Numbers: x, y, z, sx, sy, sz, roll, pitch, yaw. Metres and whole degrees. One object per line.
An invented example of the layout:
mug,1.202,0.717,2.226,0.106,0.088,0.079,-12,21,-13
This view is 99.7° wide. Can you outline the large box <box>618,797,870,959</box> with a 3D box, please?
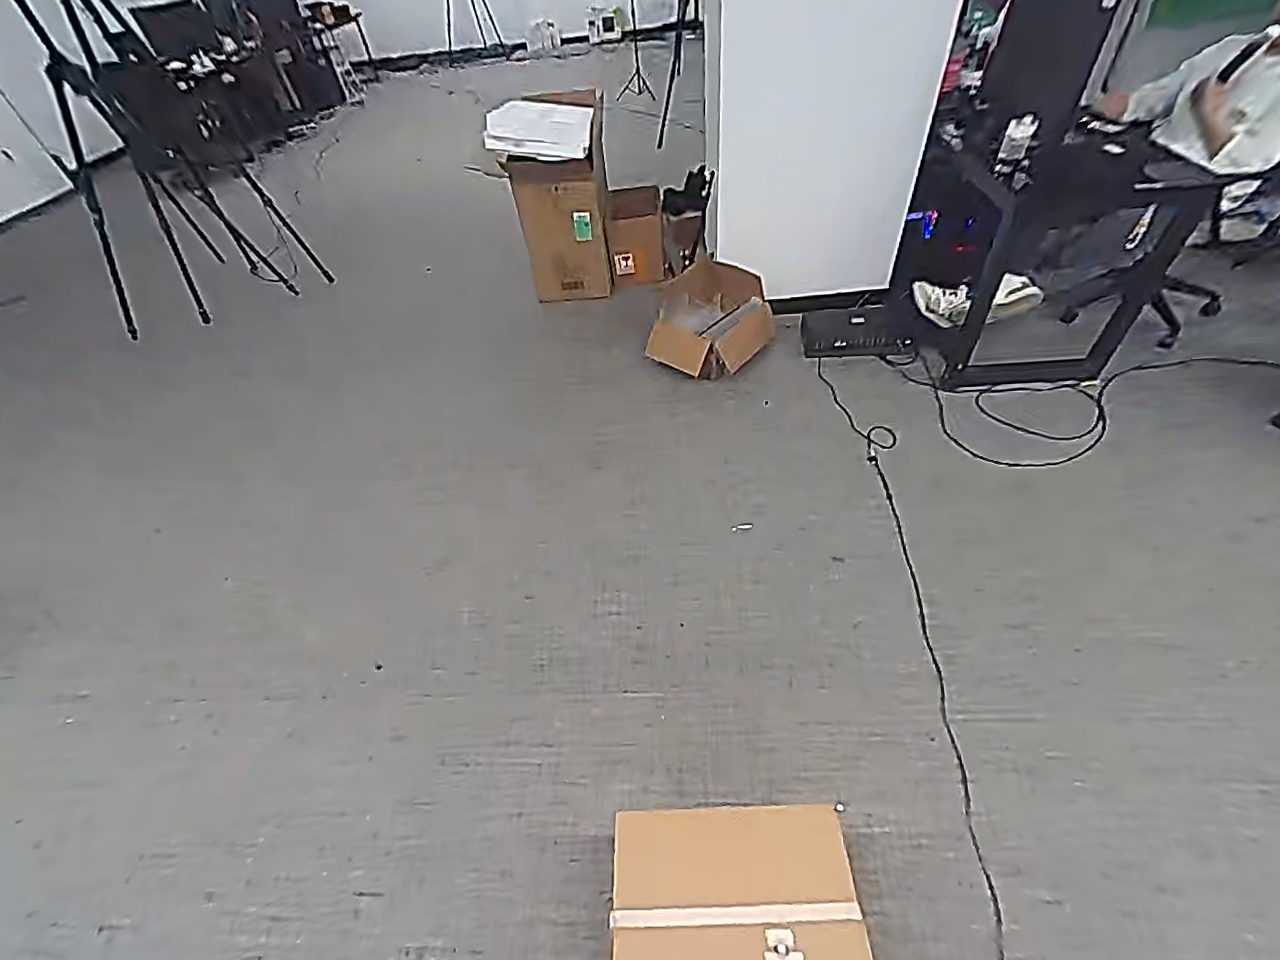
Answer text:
large box,0.172,0.819,1.012,0.408,0.320,0.320,-4,47,2
